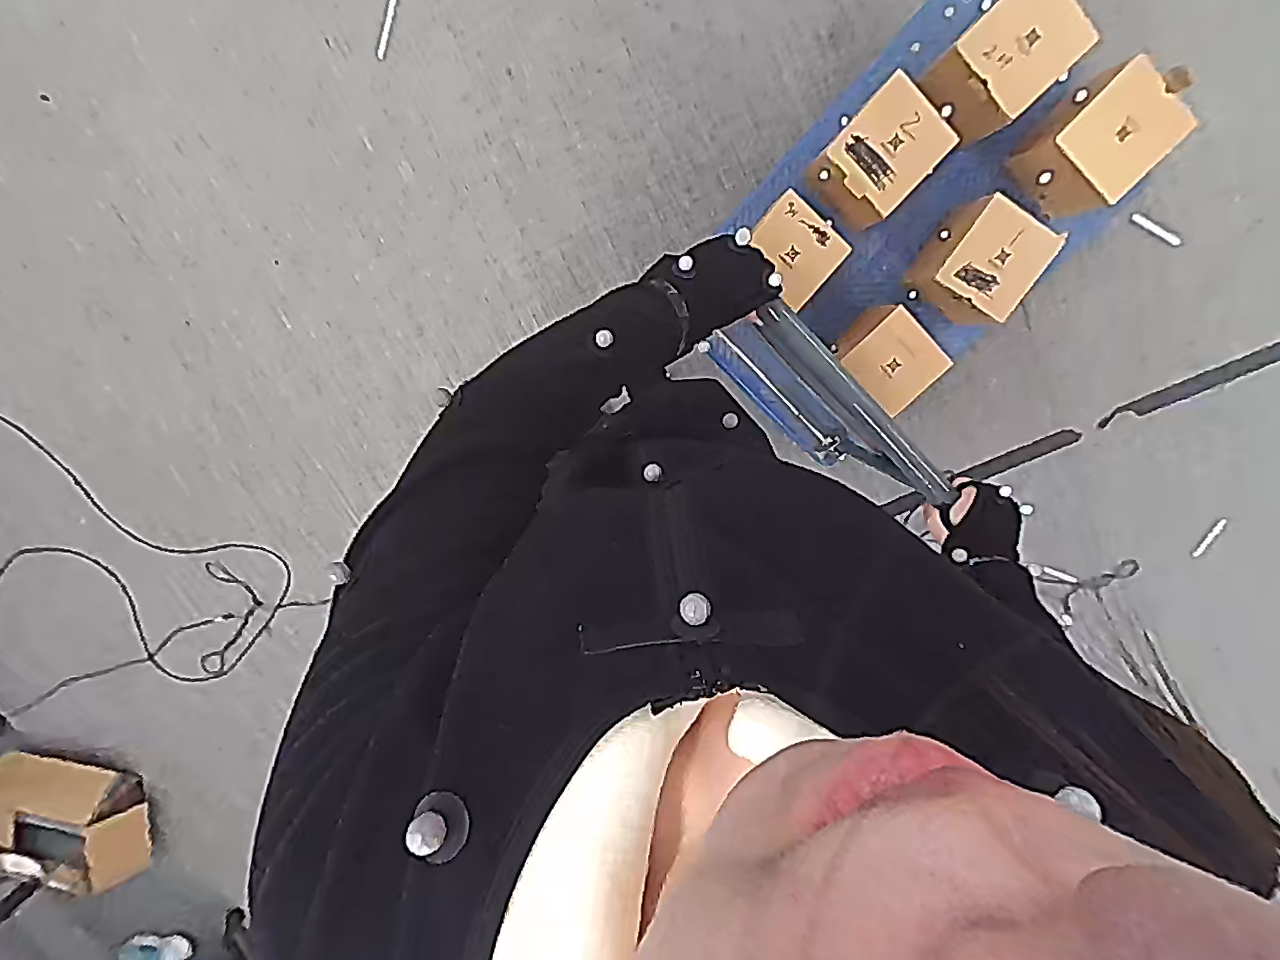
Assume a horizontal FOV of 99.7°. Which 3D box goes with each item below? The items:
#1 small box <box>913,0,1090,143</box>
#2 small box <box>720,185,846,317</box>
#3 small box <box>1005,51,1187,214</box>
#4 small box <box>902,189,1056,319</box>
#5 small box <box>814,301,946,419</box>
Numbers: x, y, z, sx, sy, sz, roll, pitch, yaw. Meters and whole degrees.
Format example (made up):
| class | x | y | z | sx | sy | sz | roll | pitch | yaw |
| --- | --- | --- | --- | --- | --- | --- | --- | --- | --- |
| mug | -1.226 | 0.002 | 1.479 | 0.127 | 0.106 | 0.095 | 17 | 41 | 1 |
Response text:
| class | x | y | z | sx | sy | sz | roll | pitch | yaw |
| --- | --- | --- | --- | --- | --- | --- | --- | --- | --- |
| small box | 0.648 | -0.770 | 0.992 | 0.179 | 0.176 | 0.168 | -42 | 101 | 14 |
| small box | 0.278 | -0.454 | 1.102 | 0.168 | 0.176 | 0.179 | 40 | 105 | -10 |
| small box | 0.841 | -0.639 | 1.026 | 0.168 | 0.176 | 0.179 | 40 | 104 | -9 |
| small box | 0.664 | -0.442 | 1.091 | 0.168 | 0.176 | 0.179 | 31 | 105 | -7 |
| small box | 0.496 | -0.258 | 1.154 | 0.168 | 0.176 | 0.179 | 44 | 103 | -11 |
